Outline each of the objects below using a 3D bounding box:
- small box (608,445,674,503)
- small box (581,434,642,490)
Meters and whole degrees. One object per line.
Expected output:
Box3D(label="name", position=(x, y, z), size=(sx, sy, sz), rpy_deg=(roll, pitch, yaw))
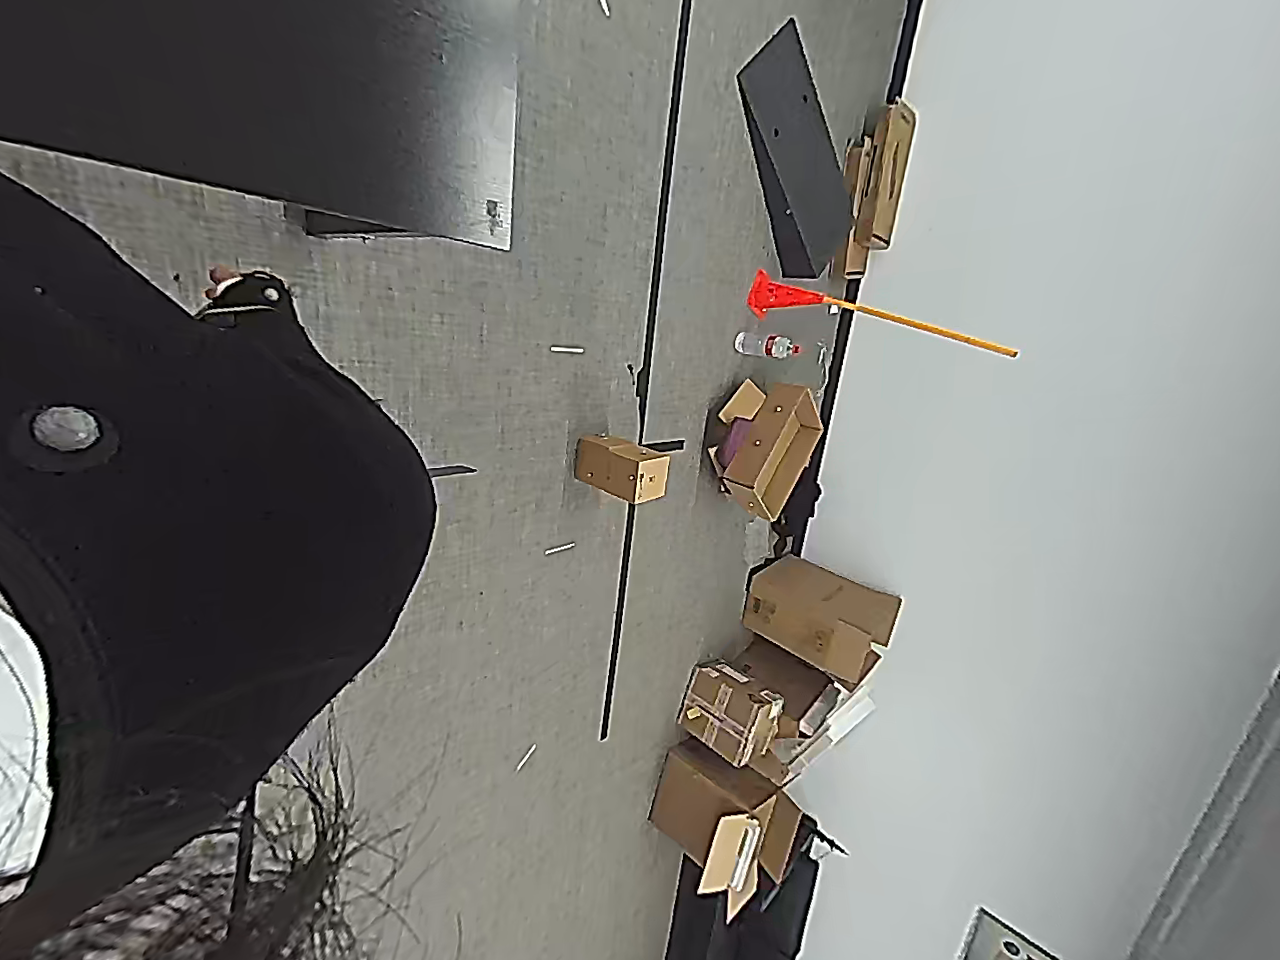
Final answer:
Box3D(label="small box", position=(0.003, -0.029, 2.039), size=(0.179, 0.176, 0.168), rpy_deg=(-15, 117, -47))
Box3D(label="small box", position=(-0.117, -0.077, 2.141), size=(0.168, 0.176, 0.179), rpy_deg=(-12, 115, -47))
